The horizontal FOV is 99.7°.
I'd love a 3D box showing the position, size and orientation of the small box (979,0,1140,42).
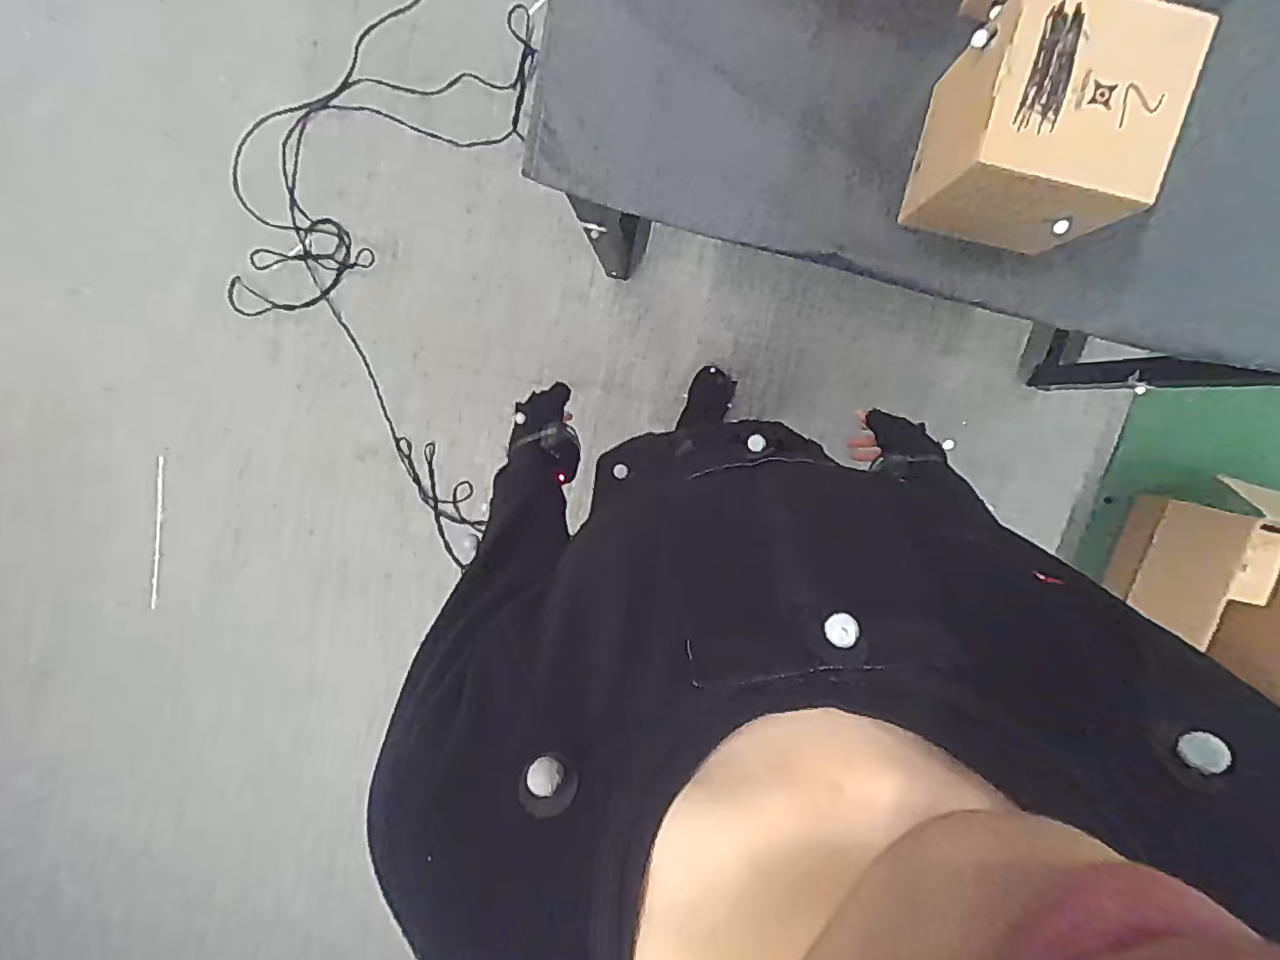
[{"bbox_3d":[0.469,-0.592,0.536,0.168,0.176,0.179,18,99,0],"label":"small box"}]
